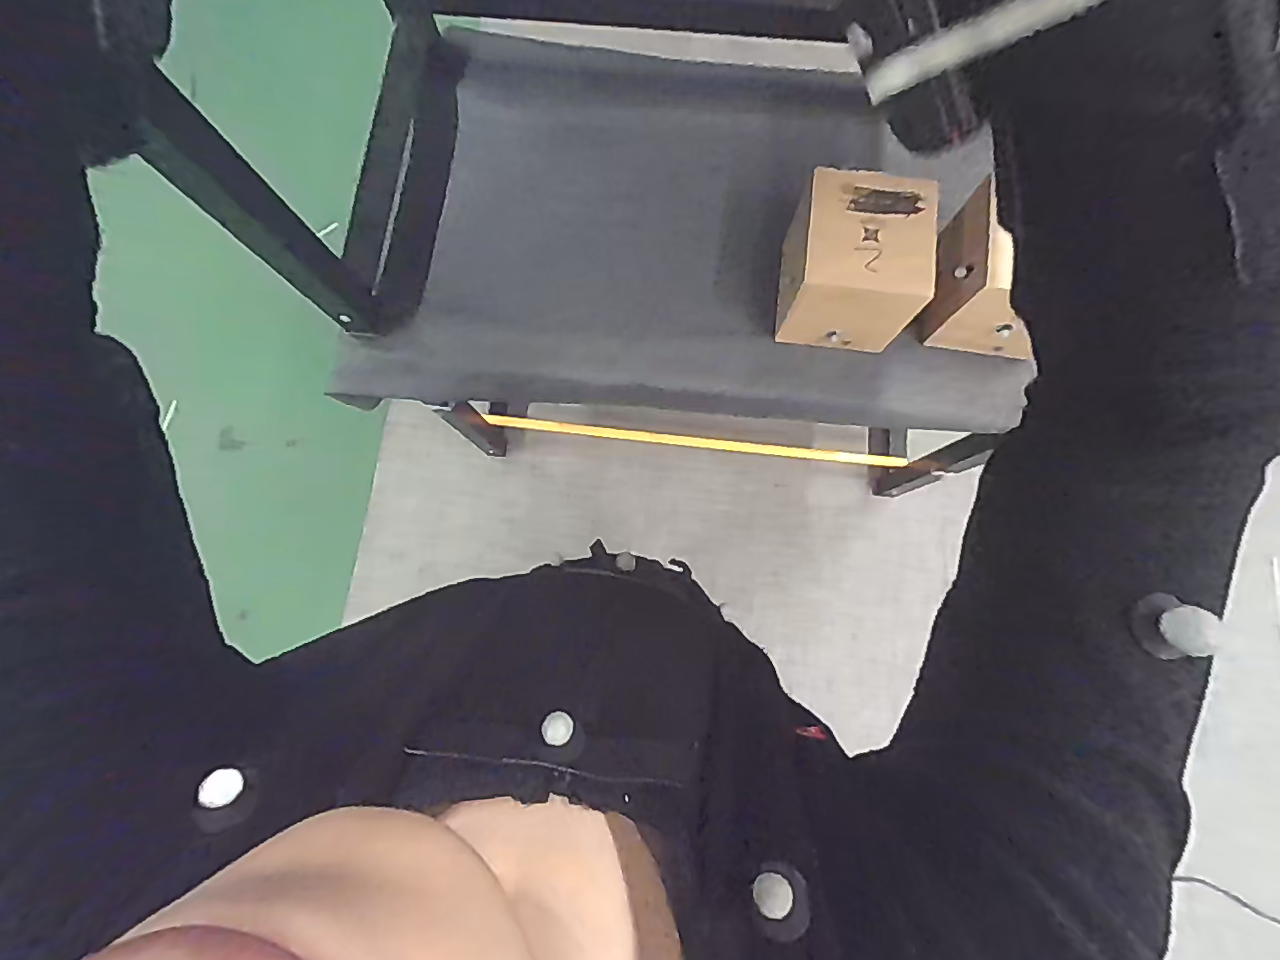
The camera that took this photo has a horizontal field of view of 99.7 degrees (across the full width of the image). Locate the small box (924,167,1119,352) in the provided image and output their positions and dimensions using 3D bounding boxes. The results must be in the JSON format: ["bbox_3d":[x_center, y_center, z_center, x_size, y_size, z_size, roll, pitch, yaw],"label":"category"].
[{"bbox_3d":[0.531,-0.303,0.774,0.168,0.176,0.179,9,78,3],"label":"small box"}]
